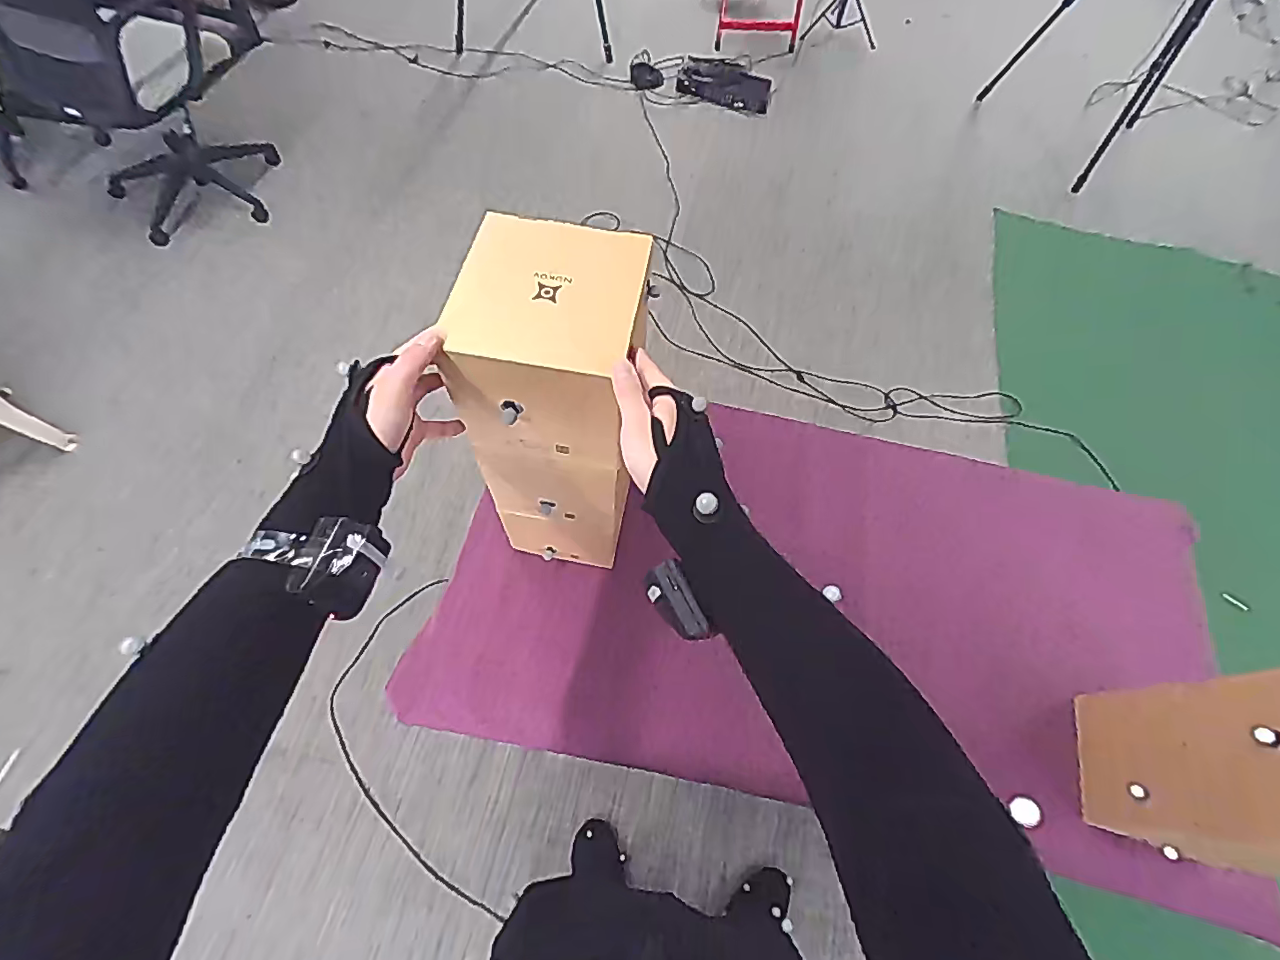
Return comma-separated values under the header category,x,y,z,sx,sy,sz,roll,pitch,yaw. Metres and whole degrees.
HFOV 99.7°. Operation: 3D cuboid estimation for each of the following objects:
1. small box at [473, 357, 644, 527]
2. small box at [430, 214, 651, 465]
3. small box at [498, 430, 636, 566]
category,x,y,z,sx,sy,sz,roll,pitch,yaw
small box,-0.095,-0.061,0.699,0.168,0.176,0.179,10,63,2
small box,-0.085,-0.134,0.554,0.168,0.176,0.179,9,63,2
small box,-0.106,0.015,0.844,0.168,0.176,0.179,11,63,2
